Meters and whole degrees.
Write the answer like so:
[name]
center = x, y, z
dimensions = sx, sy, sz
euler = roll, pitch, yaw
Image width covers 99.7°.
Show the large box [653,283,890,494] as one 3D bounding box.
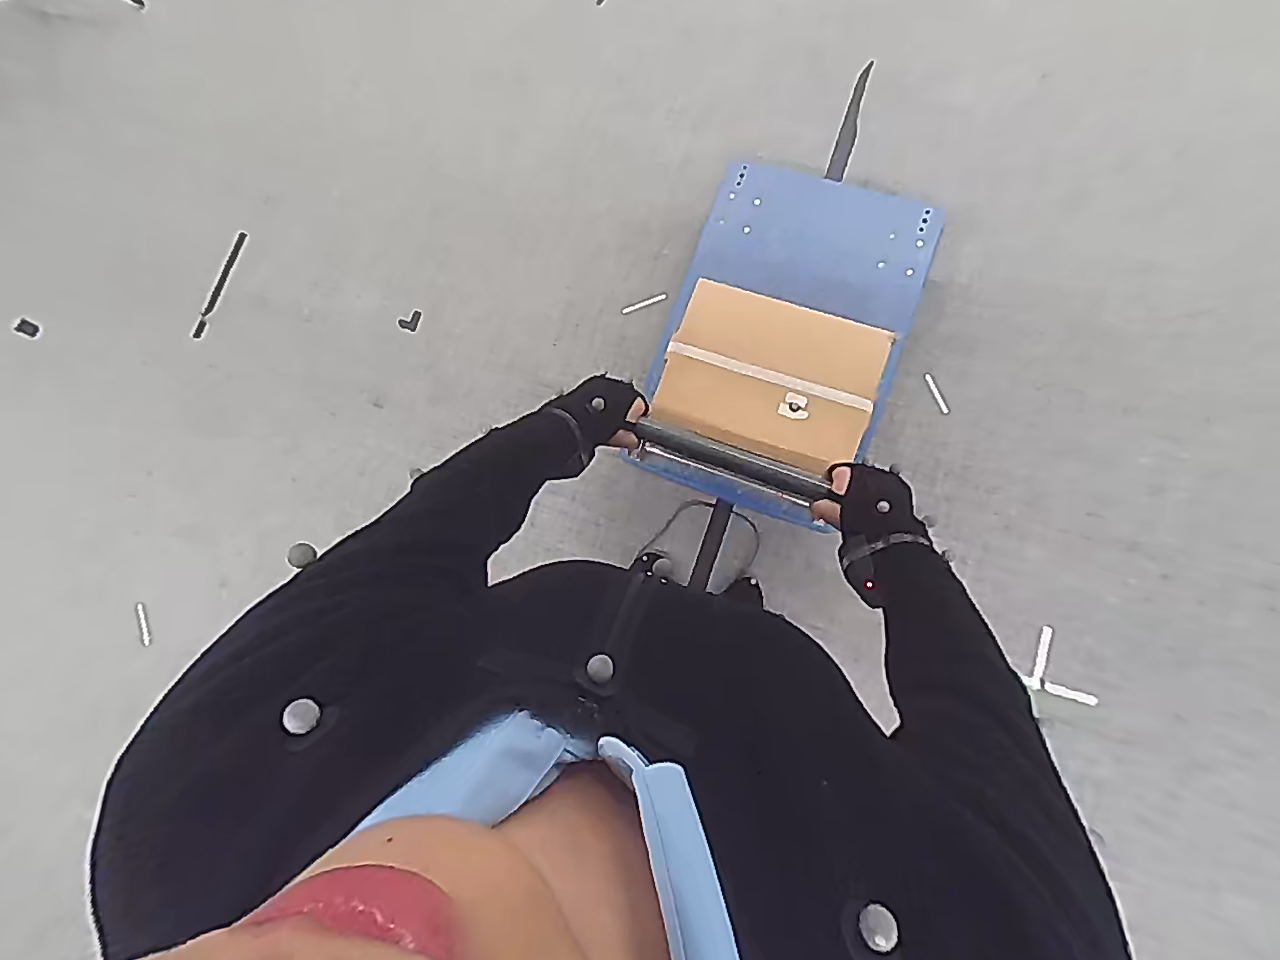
[large box]
center = 0.274, -0.188, 1.223
dimensions = 0.408, 0.320, 0.320
euler = 19, 86, 9
